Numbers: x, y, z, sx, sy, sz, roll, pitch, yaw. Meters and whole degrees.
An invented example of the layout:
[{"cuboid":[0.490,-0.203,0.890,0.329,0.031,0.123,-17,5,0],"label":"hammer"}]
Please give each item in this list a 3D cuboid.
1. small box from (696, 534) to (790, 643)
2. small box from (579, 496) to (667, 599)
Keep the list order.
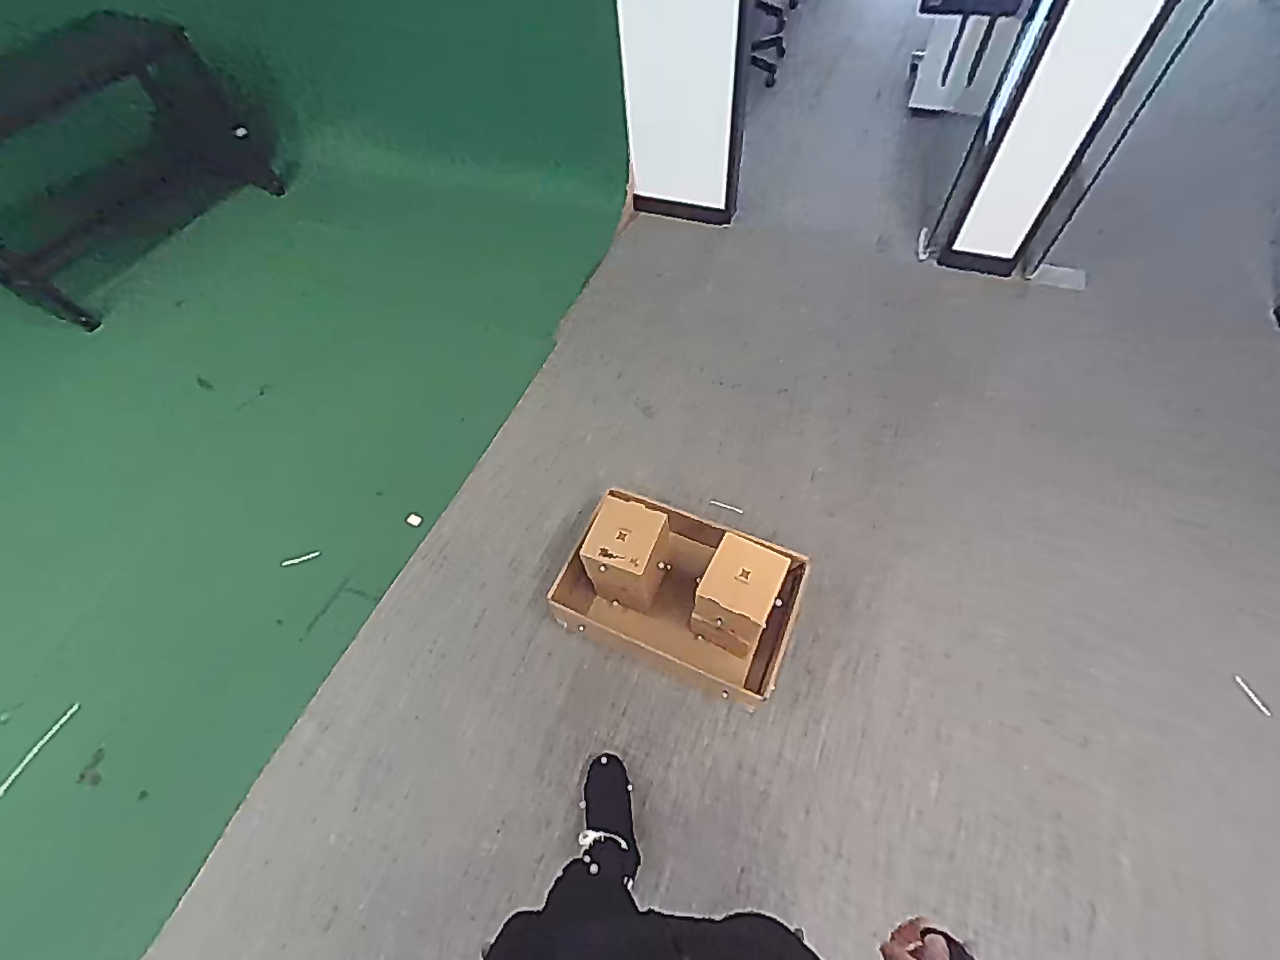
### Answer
[{"cuboid":[0.240,0.265,1.306,0.168,0.176,0.179,24,64,17],"label":"small box"},{"cuboid":[-0.037,0.175,1.377,0.168,0.176,0.179,17,60,15],"label":"small box"}]
